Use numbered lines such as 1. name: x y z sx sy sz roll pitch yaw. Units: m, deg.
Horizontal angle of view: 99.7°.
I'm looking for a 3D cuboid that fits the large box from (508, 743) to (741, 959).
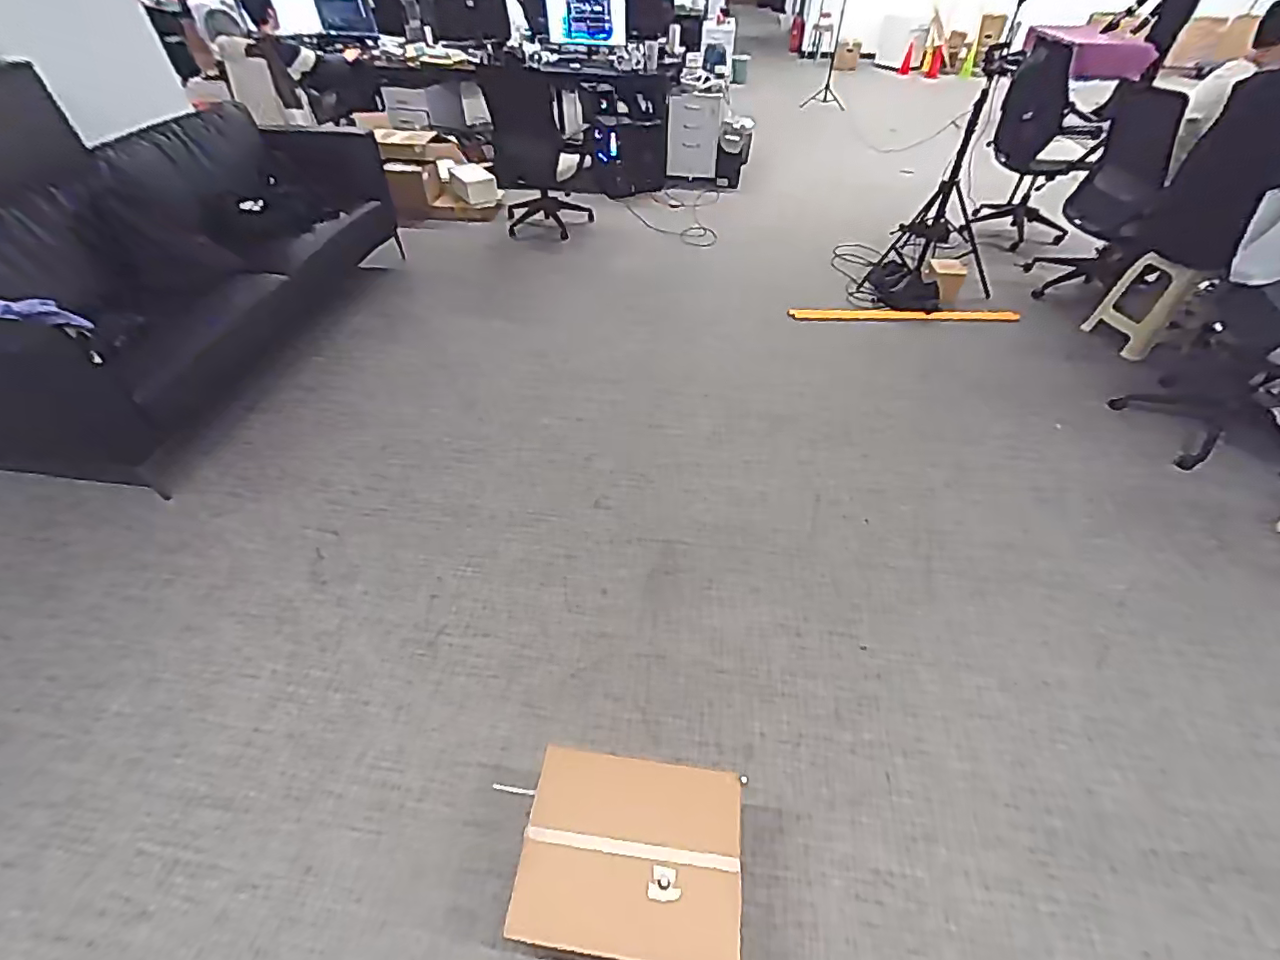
1. large box: -0.015 0.783 1.116 0.408 0.320 0.320 6 46 6
